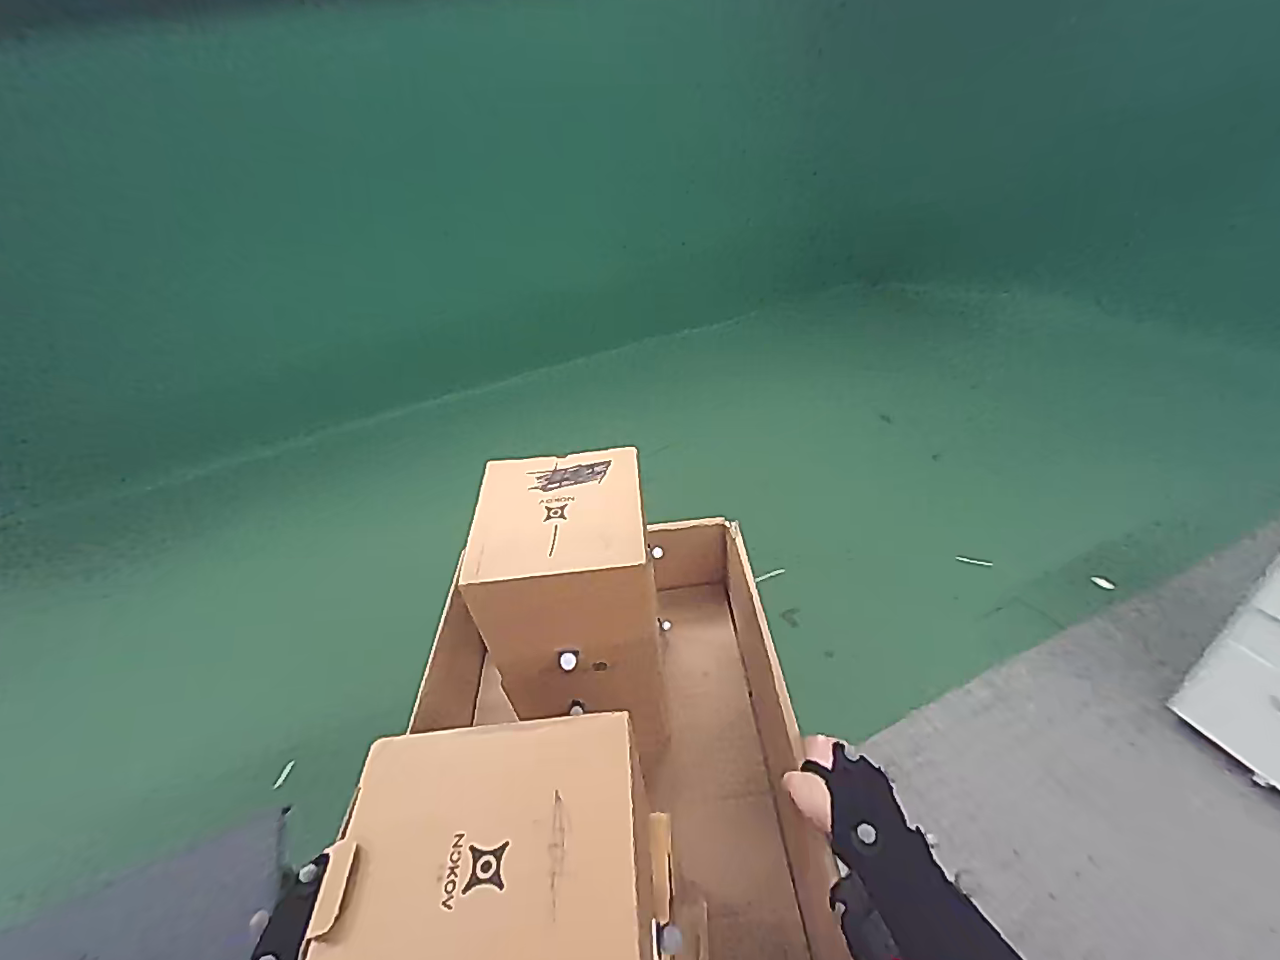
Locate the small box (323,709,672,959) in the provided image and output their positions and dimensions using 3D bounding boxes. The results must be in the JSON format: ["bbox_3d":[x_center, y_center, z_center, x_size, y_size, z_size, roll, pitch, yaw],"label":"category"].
[{"bbox_3d":[-0.073,0.277,0.355,0.179,0.176,0.168,-6,40,0],"label":"small box"}]

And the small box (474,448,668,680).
[{"bbox_3d":[-0.060,0.088,0.579,0.168,0.176,0.179,-6,41,2],"label":"small box"}]
